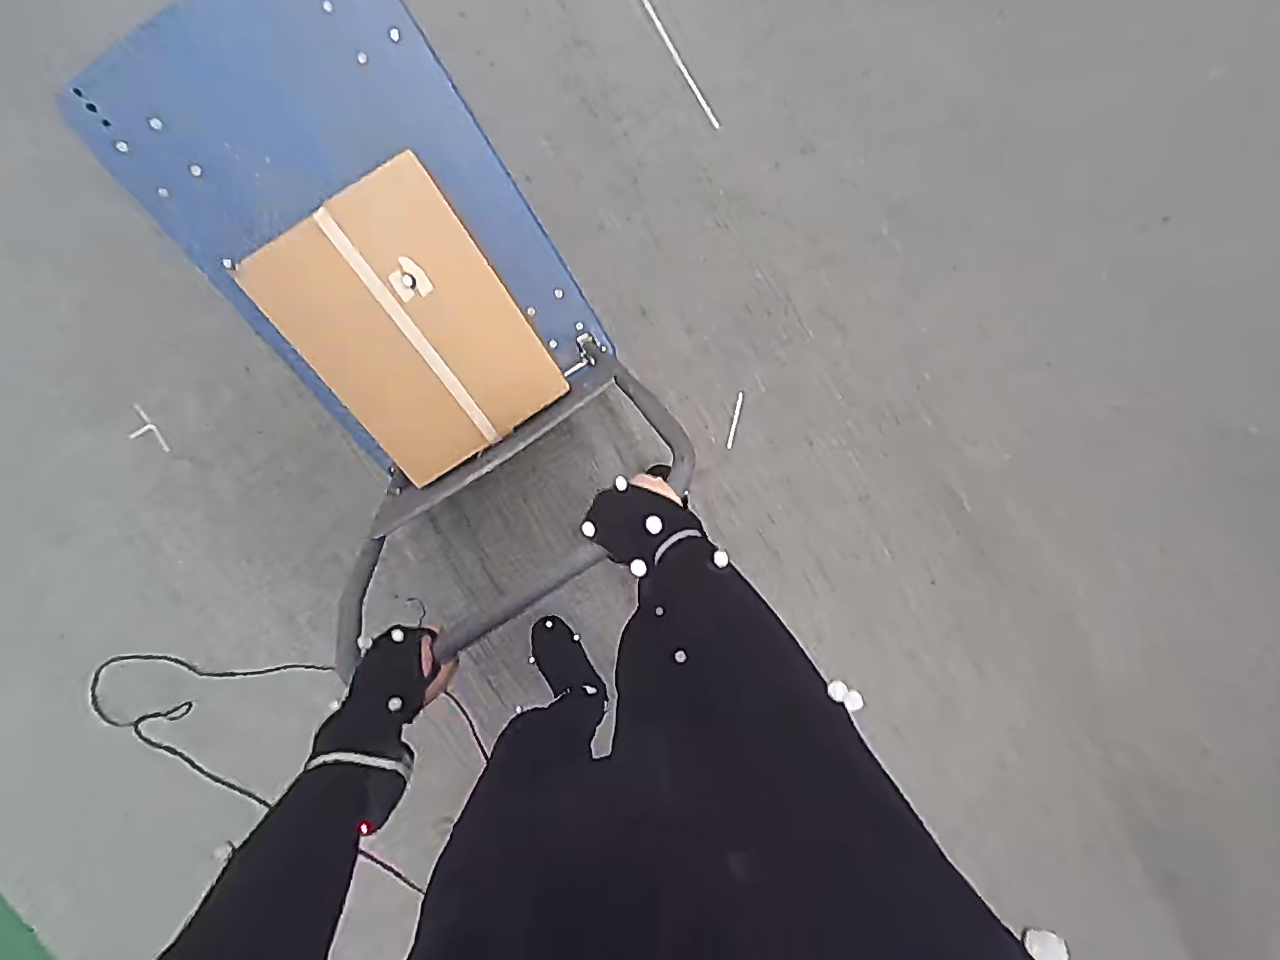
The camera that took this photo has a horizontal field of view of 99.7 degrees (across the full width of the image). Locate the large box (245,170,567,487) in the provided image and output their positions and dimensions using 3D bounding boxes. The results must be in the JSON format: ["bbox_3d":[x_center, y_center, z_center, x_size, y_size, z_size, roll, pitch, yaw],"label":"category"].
[{"bbox_3d":[-0.377,-0.266,0.997,0.320,0.320,0.408,-34,112,1],"label":"large box"}]
